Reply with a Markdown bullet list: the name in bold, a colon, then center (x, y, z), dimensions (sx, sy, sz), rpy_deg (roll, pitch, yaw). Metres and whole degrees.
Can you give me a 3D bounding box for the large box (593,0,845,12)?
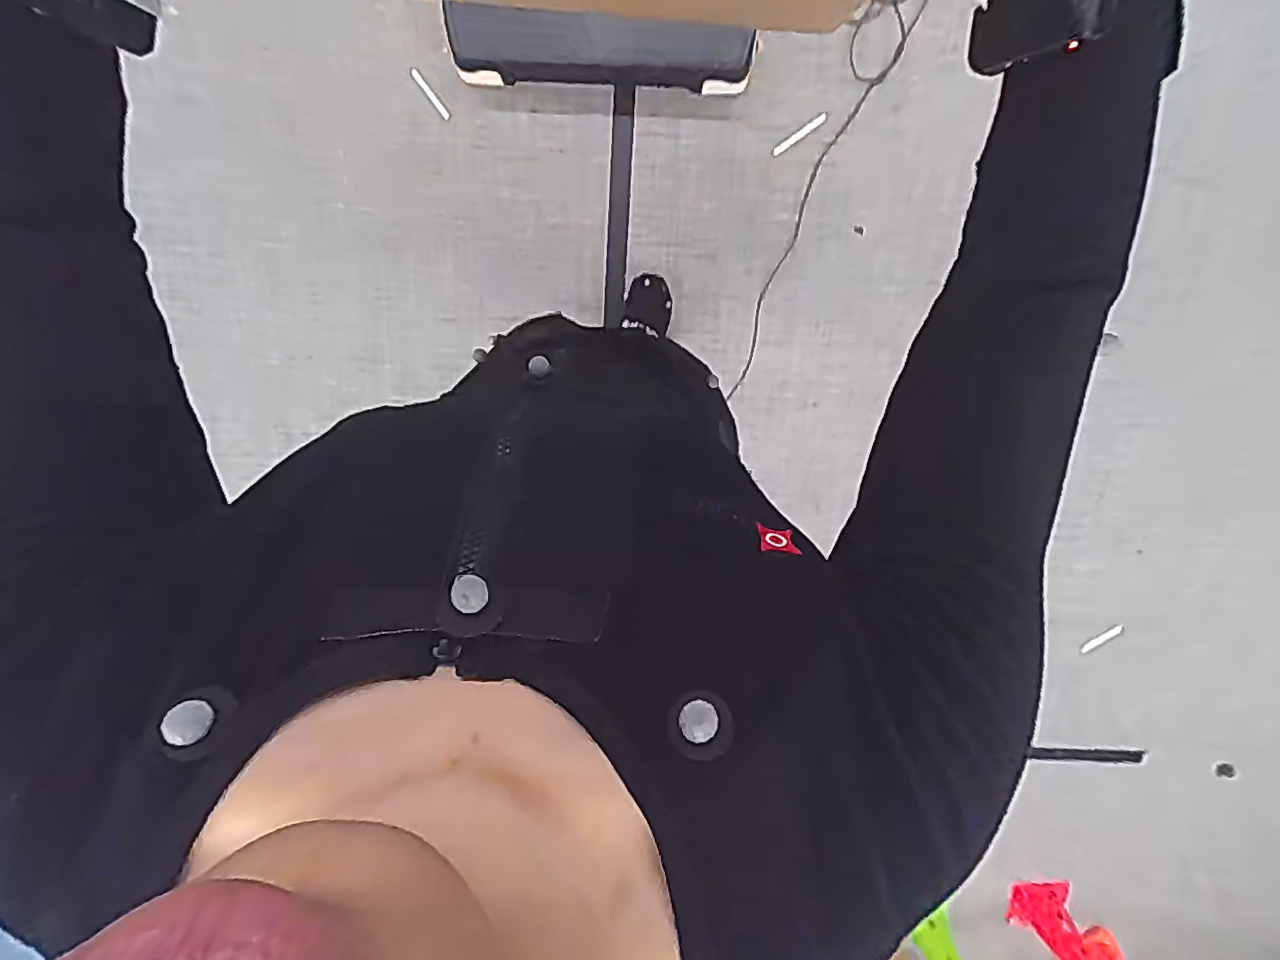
- **large box**: center (-0.005, -0.511, 0.300), dimensions (0.408, 0.320, 0.320), rpy_deg (2, 117, -2)
